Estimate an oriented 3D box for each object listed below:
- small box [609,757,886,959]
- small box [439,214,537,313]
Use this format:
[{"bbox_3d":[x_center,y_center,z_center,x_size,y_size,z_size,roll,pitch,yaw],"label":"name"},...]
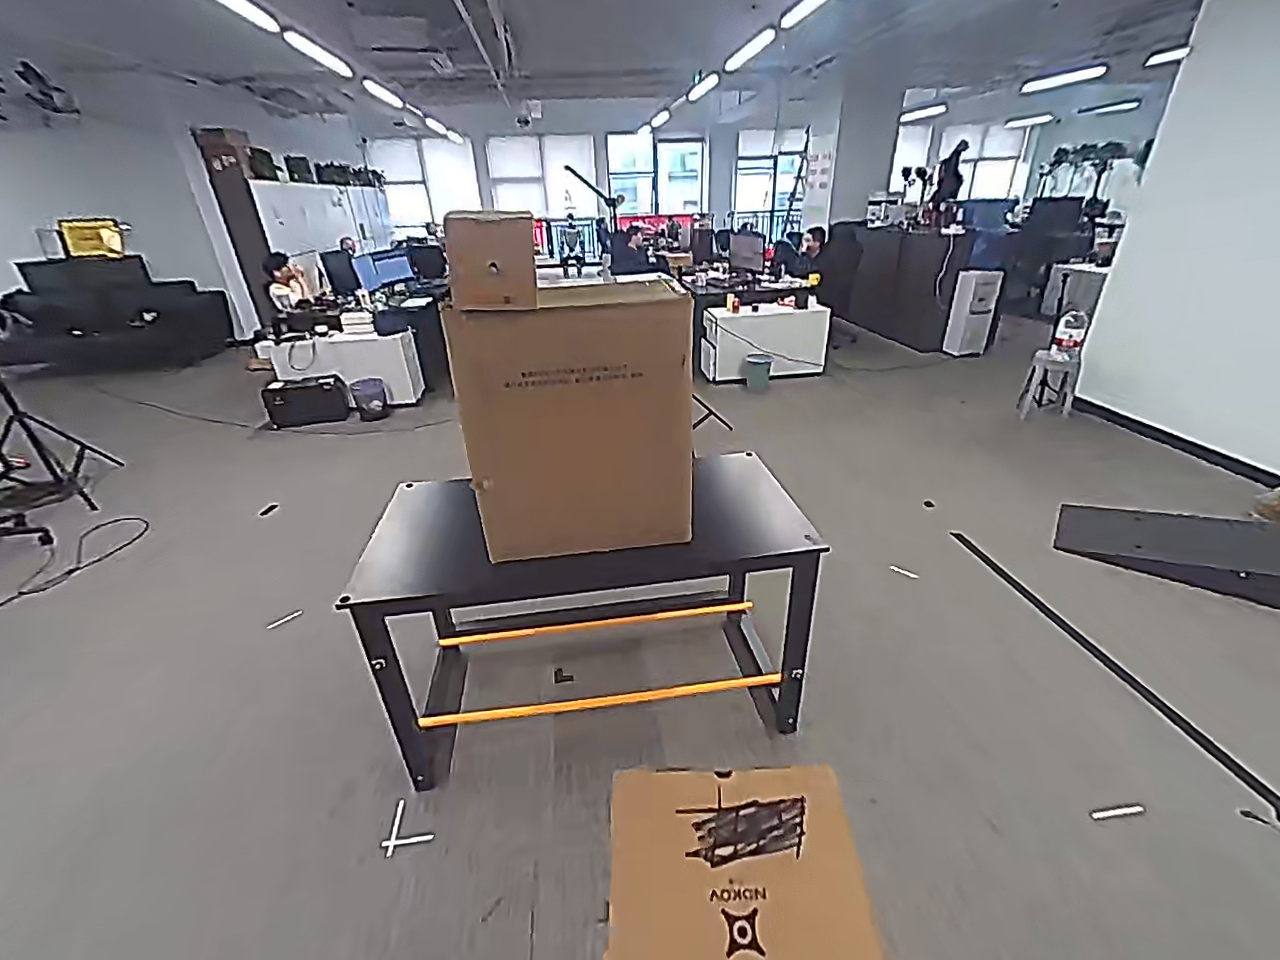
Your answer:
[{"bbox_3d":[0.063,0.326,0.387,0.168,0.176,0.179,-1,39,0],"label":"small box"},{"bbox_3d":[-0.299,-0.440,1.098,0.168,0.176,0.179,-5,30,-10],"label":"small box"}]
